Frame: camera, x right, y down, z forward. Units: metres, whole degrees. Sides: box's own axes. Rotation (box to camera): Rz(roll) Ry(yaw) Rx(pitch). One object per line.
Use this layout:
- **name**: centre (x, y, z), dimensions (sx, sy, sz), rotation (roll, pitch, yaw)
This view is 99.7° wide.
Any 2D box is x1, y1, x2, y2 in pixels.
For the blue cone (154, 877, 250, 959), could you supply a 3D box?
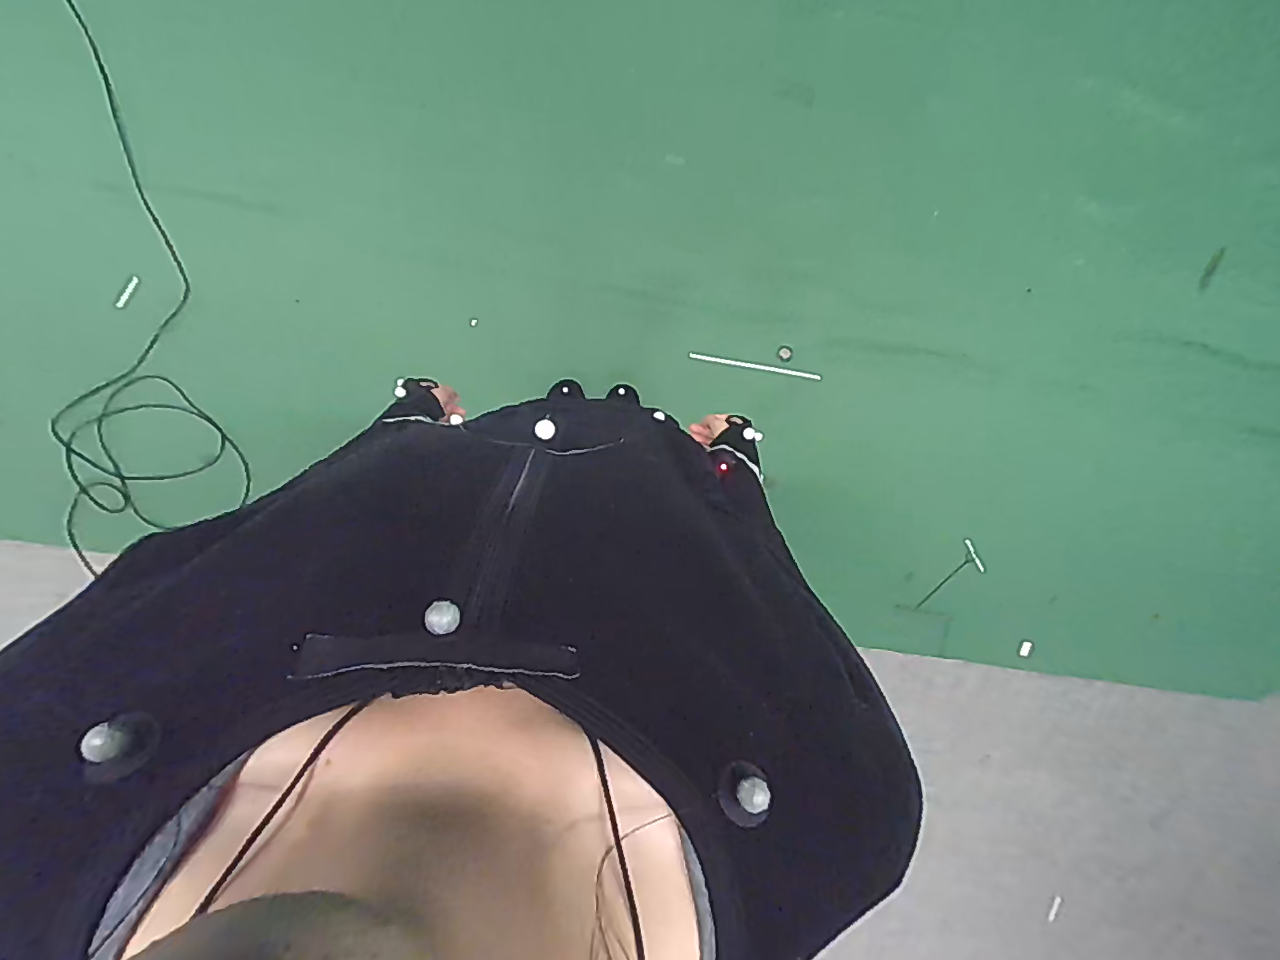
- **blue cone**: centre (-1.306, 1.358, 1.499), dimensions (0.193, 0.380, 0.192), rotation (-34, 103, 5)
